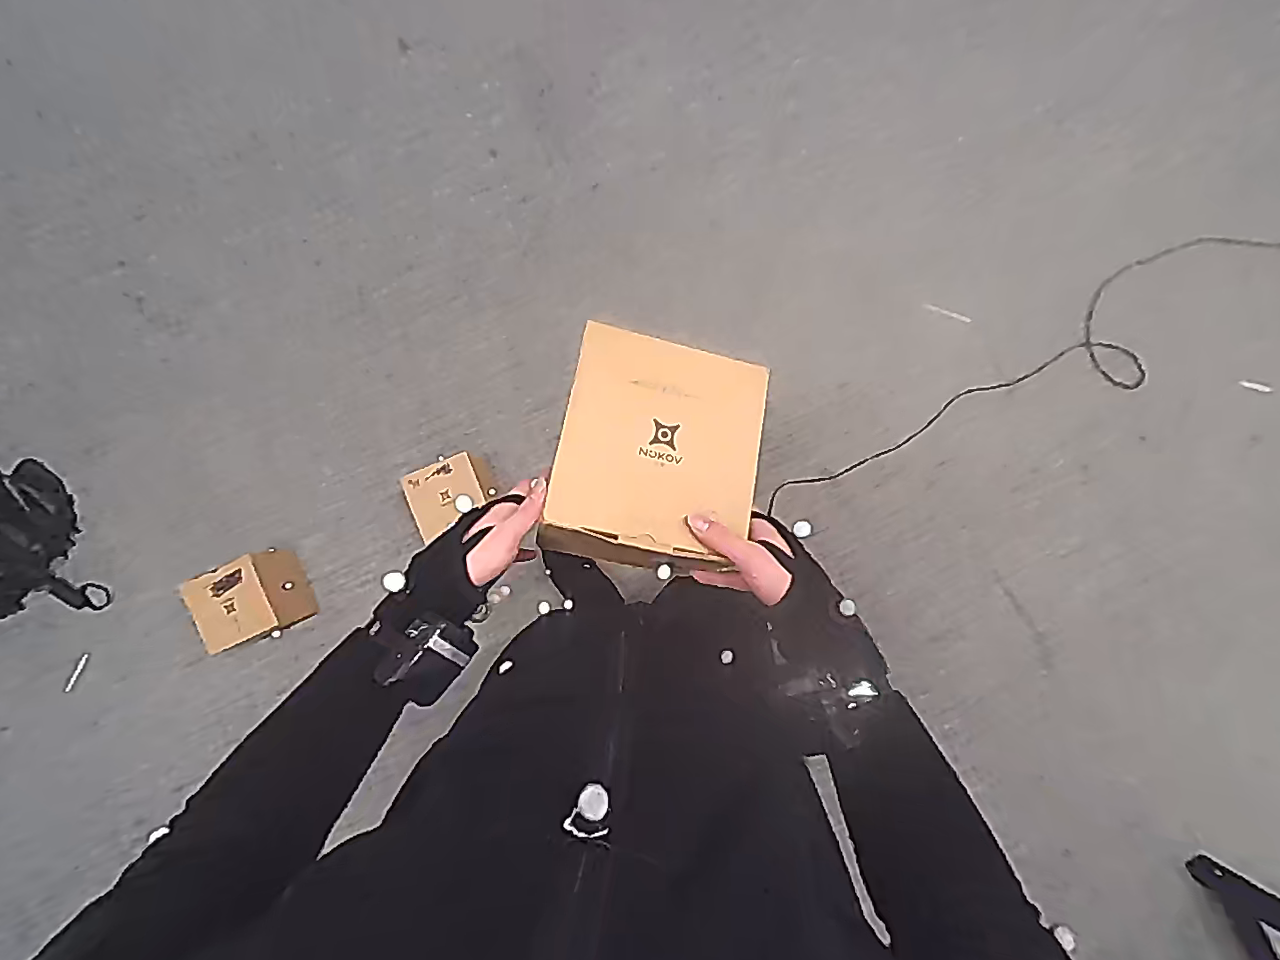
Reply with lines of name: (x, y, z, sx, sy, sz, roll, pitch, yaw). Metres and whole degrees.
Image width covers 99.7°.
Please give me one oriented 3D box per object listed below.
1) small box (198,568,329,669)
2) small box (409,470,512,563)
small box: (-0.899, 0.324, 1.307, 0.168, 0.176, 0.179, -26, 88, -2)
small box: (-0.433, 0.087, 1.335, 0.168, 0.176, 0.179, -23, 87, -2)
